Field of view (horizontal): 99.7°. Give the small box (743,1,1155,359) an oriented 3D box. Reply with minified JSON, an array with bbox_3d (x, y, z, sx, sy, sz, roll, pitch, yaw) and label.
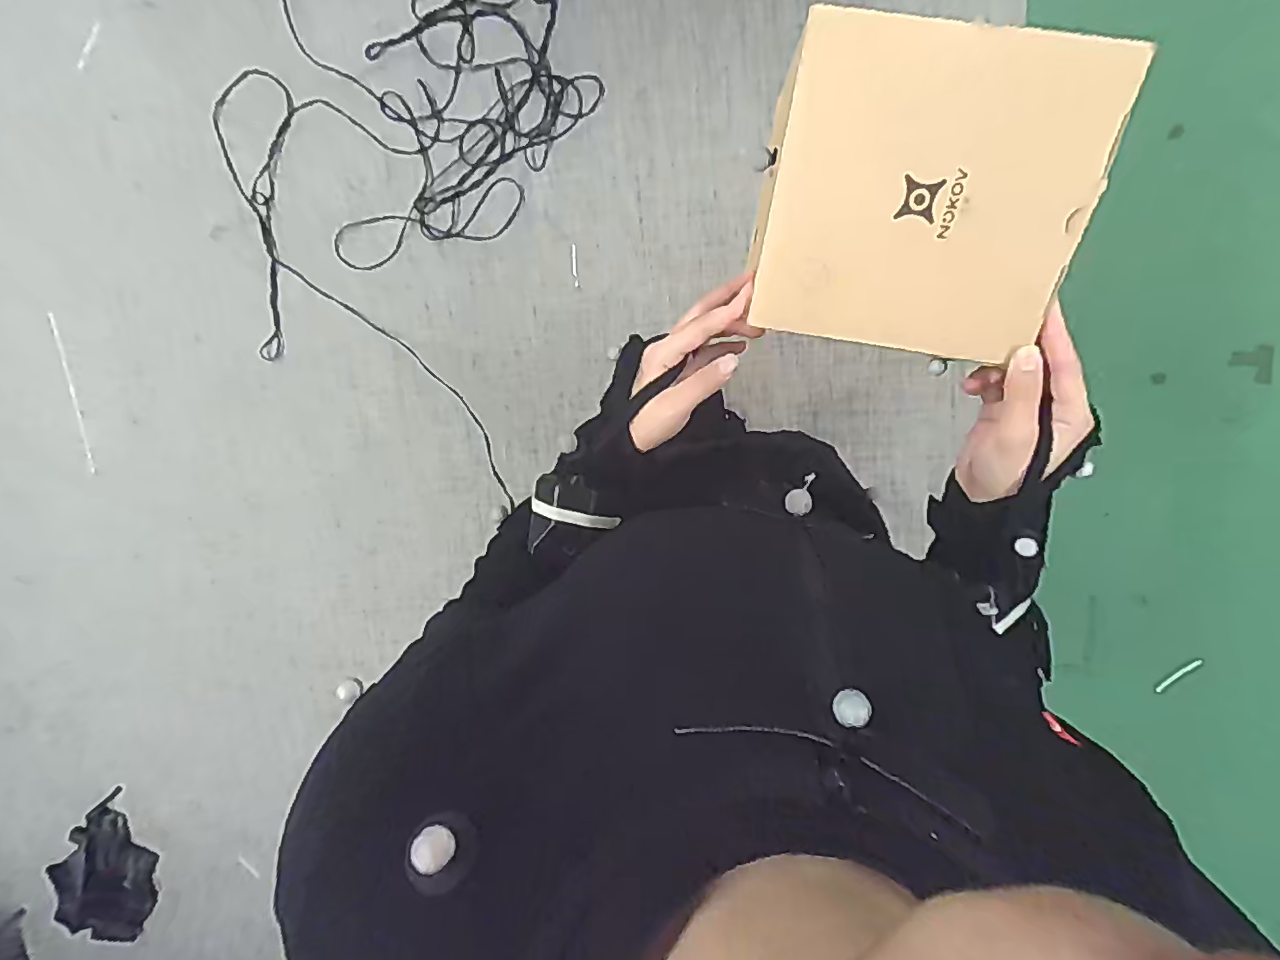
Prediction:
[{"bbox_3d":[0.174,-0.189,0.380,0.179,0.176,0.168,10,112,4],"label":"small box"}]
